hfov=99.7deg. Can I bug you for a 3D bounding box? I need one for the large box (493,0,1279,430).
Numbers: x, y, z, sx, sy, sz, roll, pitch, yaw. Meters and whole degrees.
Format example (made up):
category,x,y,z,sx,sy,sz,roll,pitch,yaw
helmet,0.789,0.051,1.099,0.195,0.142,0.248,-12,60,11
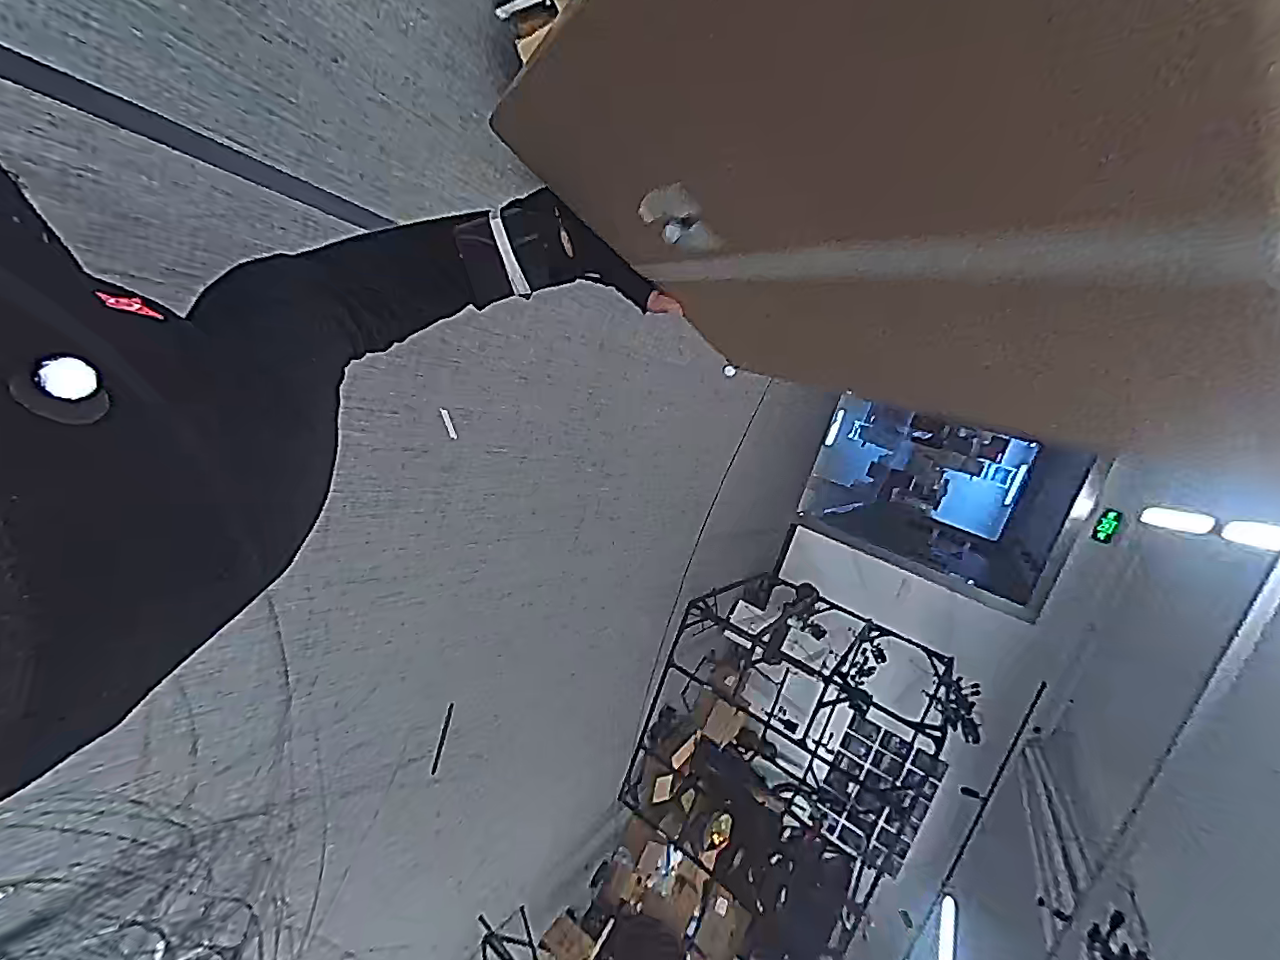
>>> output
category,x,y,z,sx,sy,sz,roll,pitch,yaw
large box,0.166,-0.269,0.320,0.320,0.408,0.320,35,87,-33
